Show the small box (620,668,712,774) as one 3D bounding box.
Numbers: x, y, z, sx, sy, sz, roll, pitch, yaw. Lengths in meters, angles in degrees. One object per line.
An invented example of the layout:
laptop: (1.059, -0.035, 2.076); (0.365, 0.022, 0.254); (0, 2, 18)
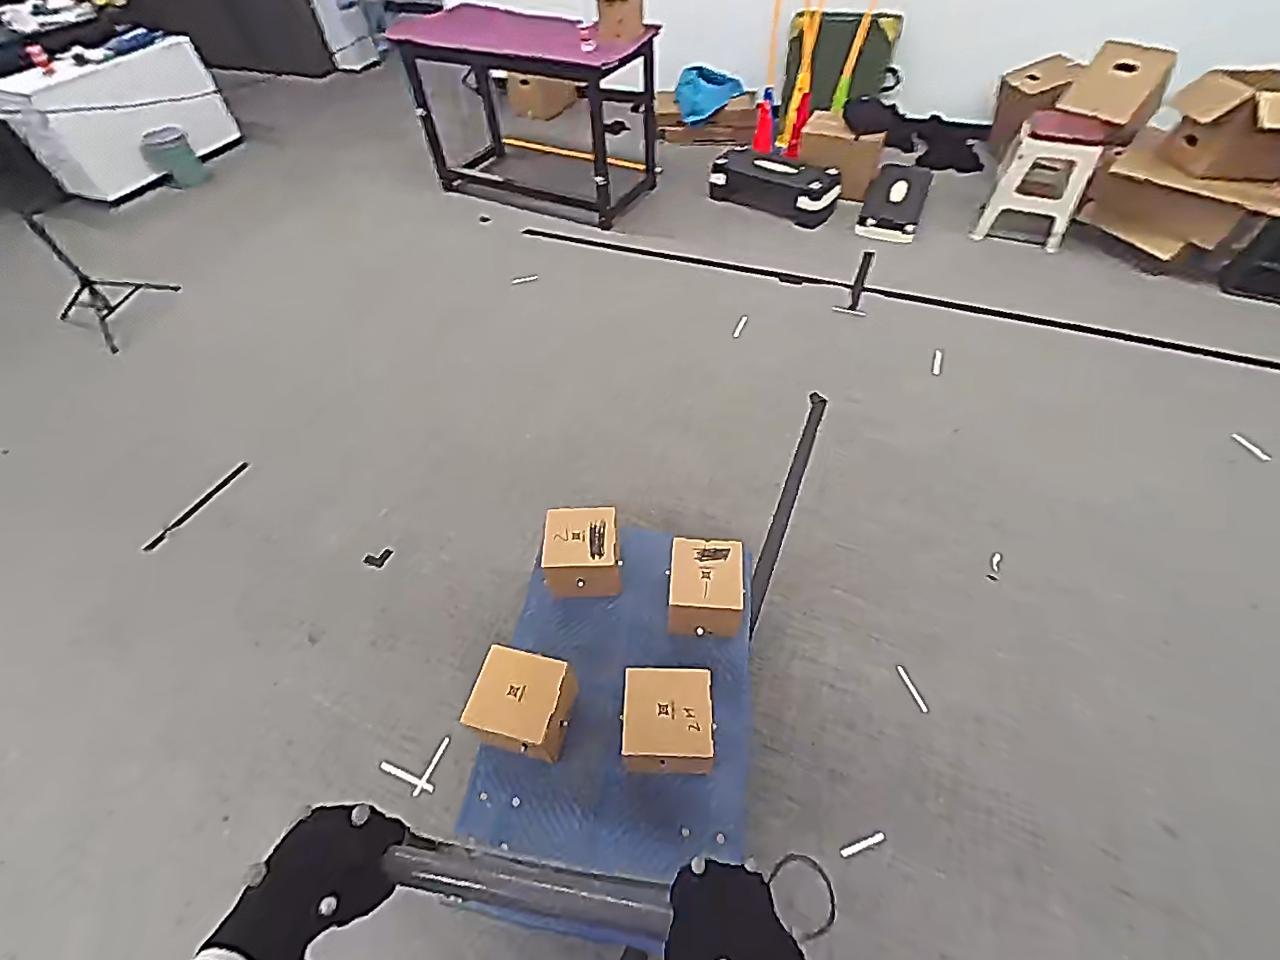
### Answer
small box: (0.057, 0.502, 1.120); (0.179, 0.176, 0.168); (1, 53, 4)

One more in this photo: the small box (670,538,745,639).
small box: (0.160, 0.261, 1.300); (0.168, 0.176, 0.179); (3, 54, 6)

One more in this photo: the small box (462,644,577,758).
small box: (-0.248, 0.477, 1.157); (0.179, 0.176, 0.168); (11, 53, 9)
